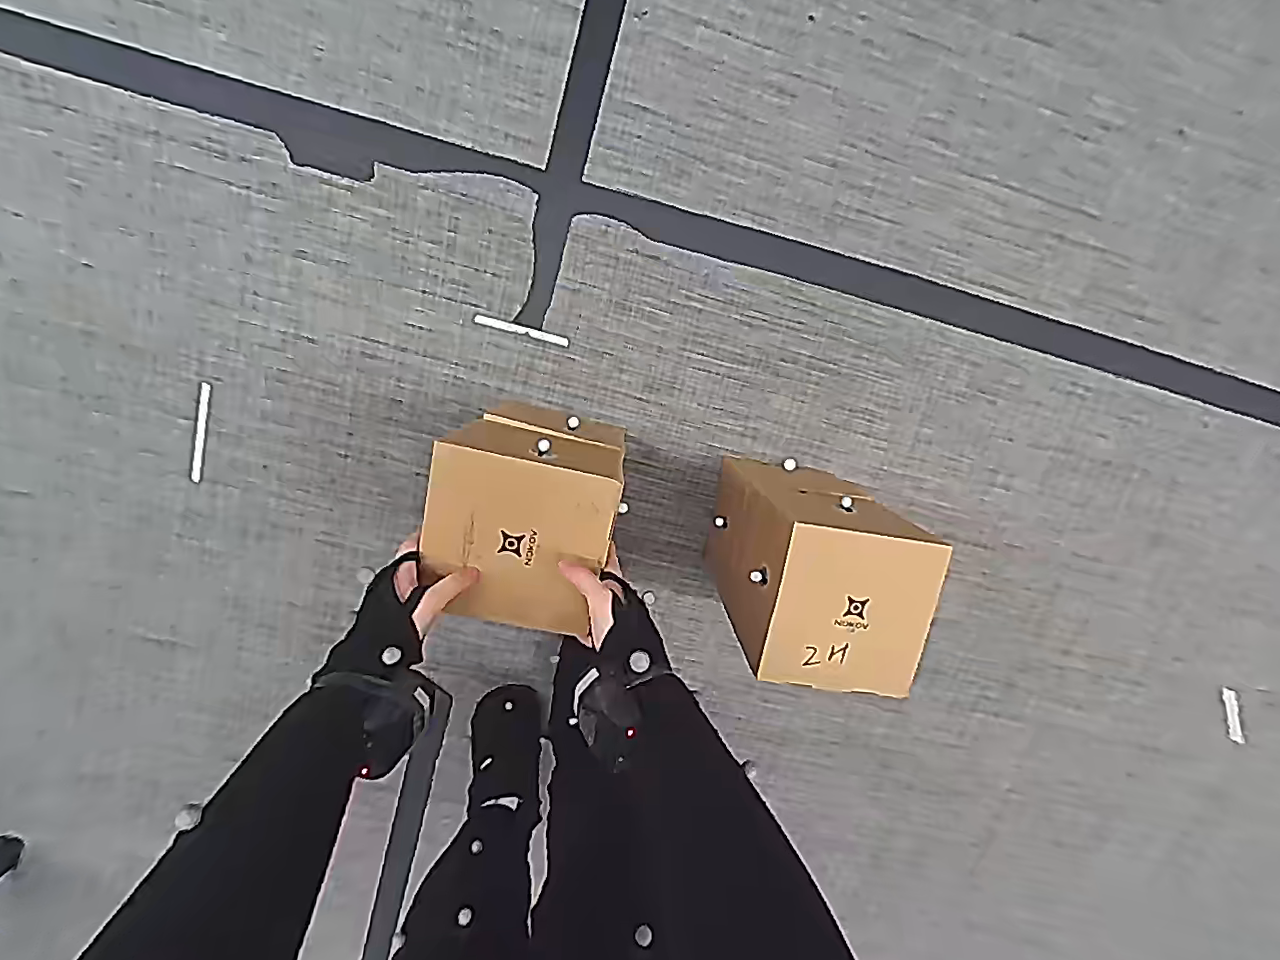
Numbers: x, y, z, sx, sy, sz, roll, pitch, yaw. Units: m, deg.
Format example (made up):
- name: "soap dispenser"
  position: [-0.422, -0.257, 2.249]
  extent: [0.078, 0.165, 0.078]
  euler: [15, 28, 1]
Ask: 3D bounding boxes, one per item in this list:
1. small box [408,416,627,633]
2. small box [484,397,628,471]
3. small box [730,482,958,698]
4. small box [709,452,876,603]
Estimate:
- name: "small box"
  position: [-0.118, 0.034, 0.573]
  extent: [0.179, 0.176, 0.168]
  euler: [13, 102, -6]
- name: "small box"
  position: [-0.124, -0.009, 0.732]
  extent: [0.179, 0.176, 0.168]
  euler: [15, 103, -7]
- name: "small box"
  position: [0.208, 0.110, 0.608]
  extent: [0.168, 0.176, 0.179]
  euler: [10, 103, -5]
- name: "small box"
  position: [0.200, 0.070, 0.768]
  extent: [0.168, 0.176, 0.179]
  euler: [8, 103, -5]
